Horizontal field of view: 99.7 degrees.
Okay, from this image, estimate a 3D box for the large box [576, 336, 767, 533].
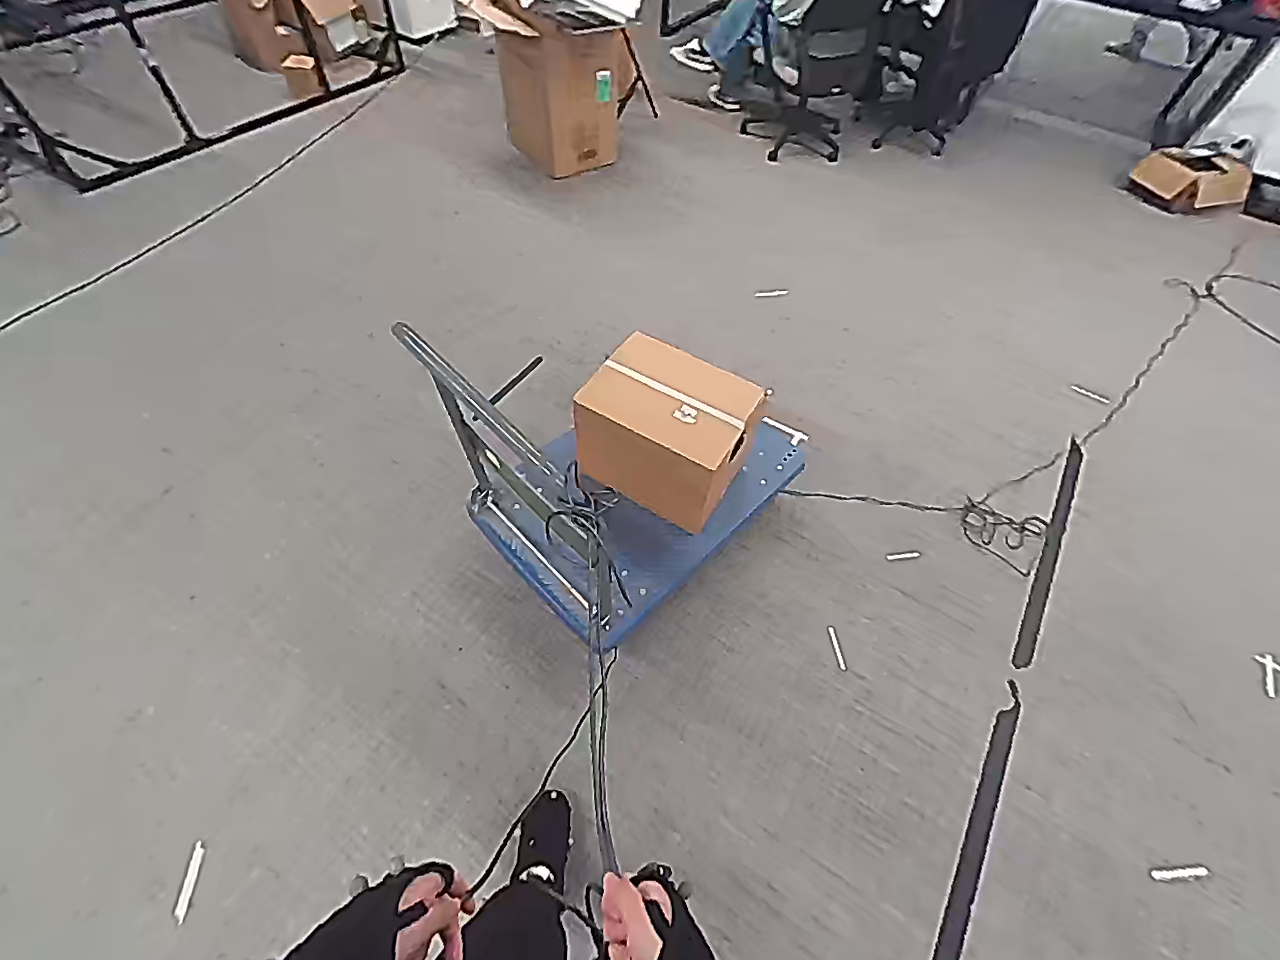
[{"bbox_3d":[0.073,-0.125,1.488,0.408,0.320,0.320,28,59,14],"label":"large box"}]
